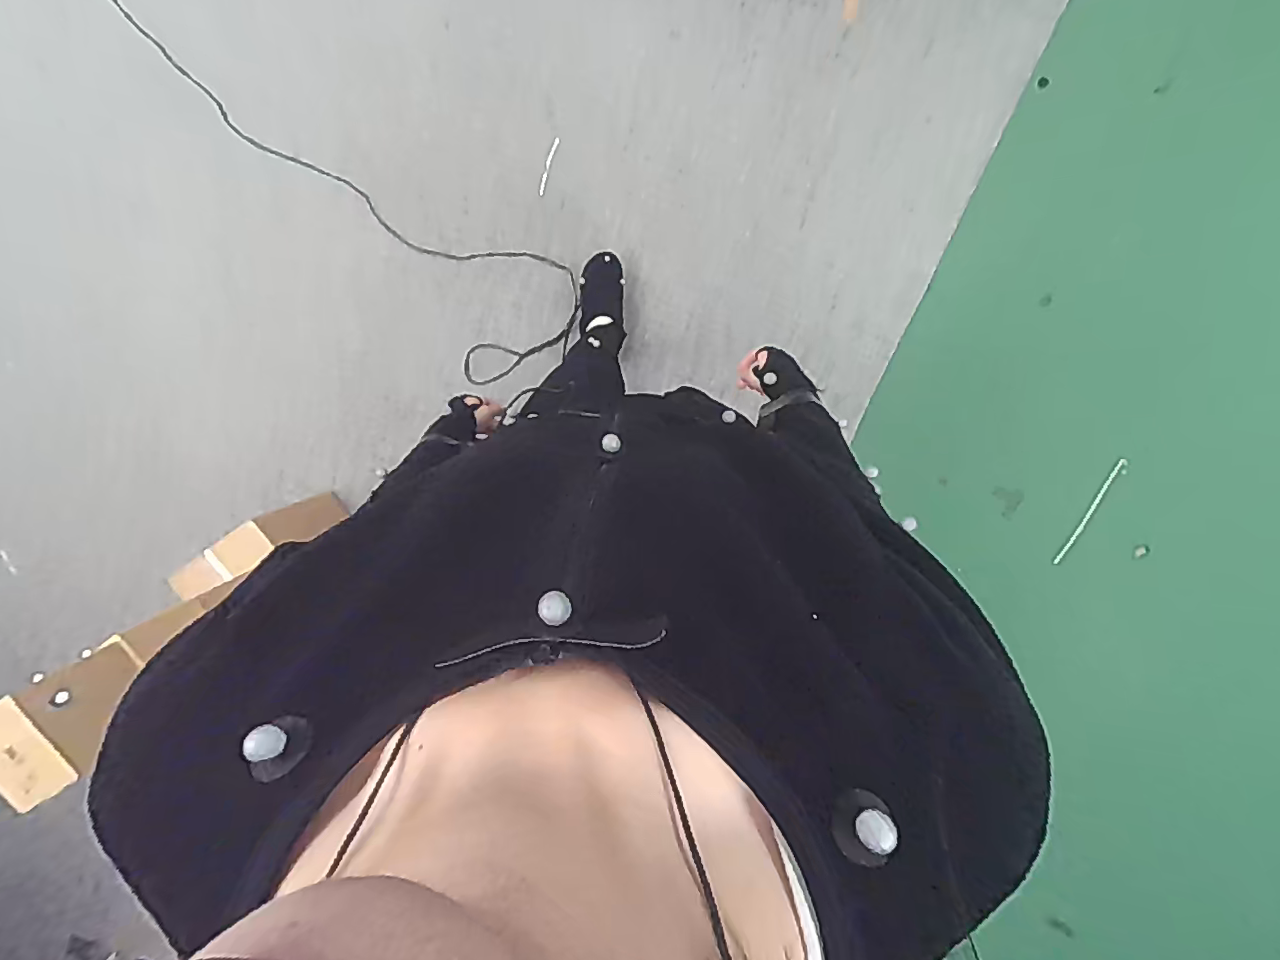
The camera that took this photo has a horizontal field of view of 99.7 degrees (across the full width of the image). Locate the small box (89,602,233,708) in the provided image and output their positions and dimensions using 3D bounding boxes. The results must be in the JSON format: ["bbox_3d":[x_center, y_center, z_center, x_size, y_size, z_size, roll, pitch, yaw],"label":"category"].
[{"bbox_3d":[-0.988,0.381,1.105,0.179,0.176,0.168,-33,98,12],"label":"small box"}]

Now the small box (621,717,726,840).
[{"bbox_3d":[0.066,0.593,1.062,0.179,0.176,0.168,8,102,3],"label":"small box"}]

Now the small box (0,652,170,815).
[{"bbox_3d":[-1.002,0.429,0.948,0.168,0.176,0.179,-31,98,12],"label":"small box"}]
